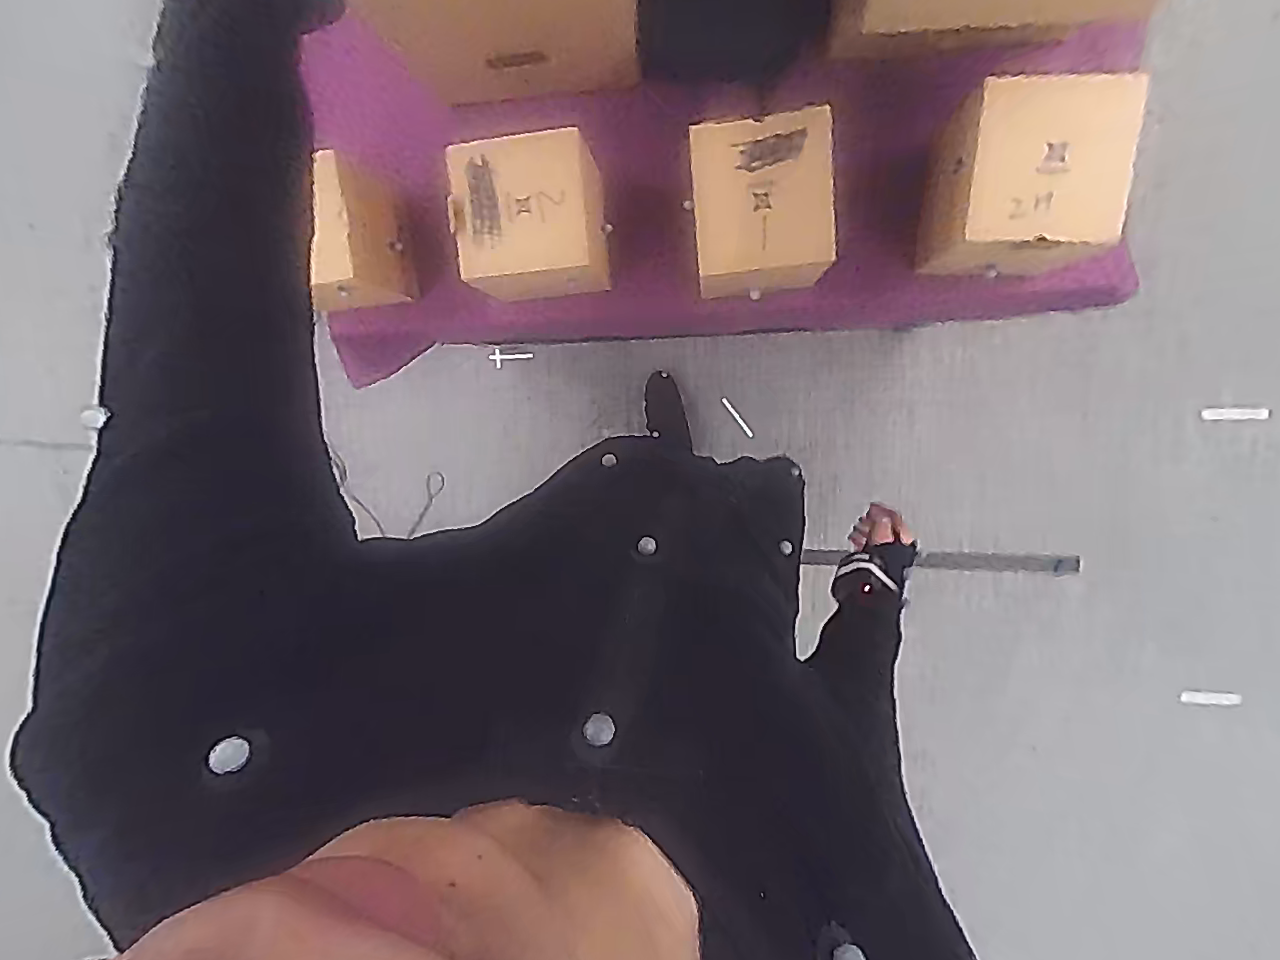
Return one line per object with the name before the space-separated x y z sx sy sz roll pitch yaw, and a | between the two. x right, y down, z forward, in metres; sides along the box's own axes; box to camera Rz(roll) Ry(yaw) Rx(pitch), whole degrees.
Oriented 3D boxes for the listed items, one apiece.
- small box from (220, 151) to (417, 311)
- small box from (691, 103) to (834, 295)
small box | -0.466 -0.357 0.809 0.179 0.176 0.168 -5 99 7
small box | 0.156 -0.358 0.723 0.168 0.176 0.179 -3 100 9
